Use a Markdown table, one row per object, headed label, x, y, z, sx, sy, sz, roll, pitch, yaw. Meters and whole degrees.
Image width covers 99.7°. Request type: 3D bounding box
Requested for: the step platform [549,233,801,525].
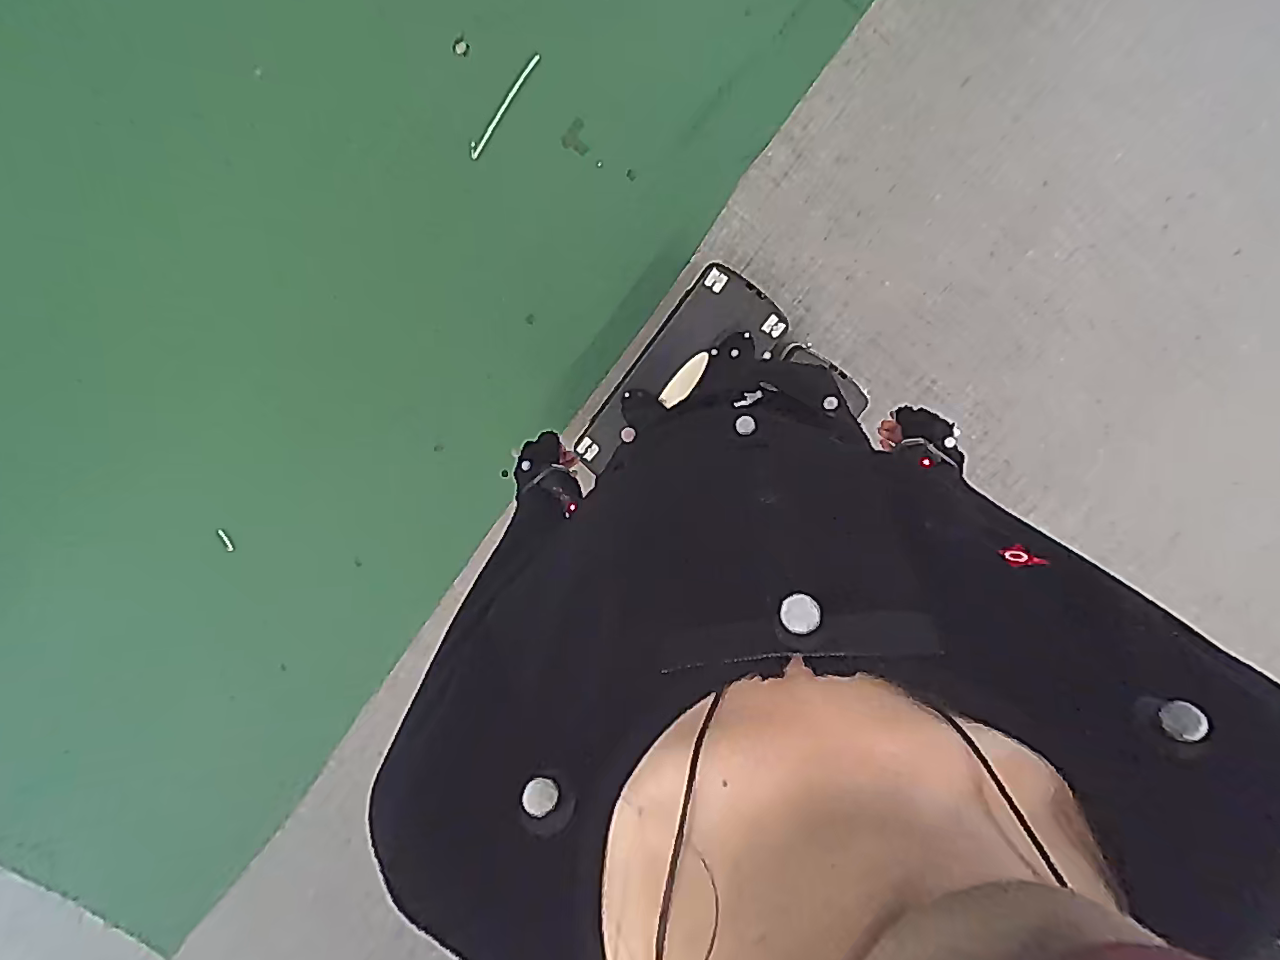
| label | x | y | z | sx | sy | sz | roll | pitch | yaw |
| --- | --- | --- | --- | --- | --- | --- | --- | --- | --- |
| step platform | 0.072 | -0.234 | 1.336 | 0.286 | 0.204 | 0.684 | 36 | 102 | -7 |
